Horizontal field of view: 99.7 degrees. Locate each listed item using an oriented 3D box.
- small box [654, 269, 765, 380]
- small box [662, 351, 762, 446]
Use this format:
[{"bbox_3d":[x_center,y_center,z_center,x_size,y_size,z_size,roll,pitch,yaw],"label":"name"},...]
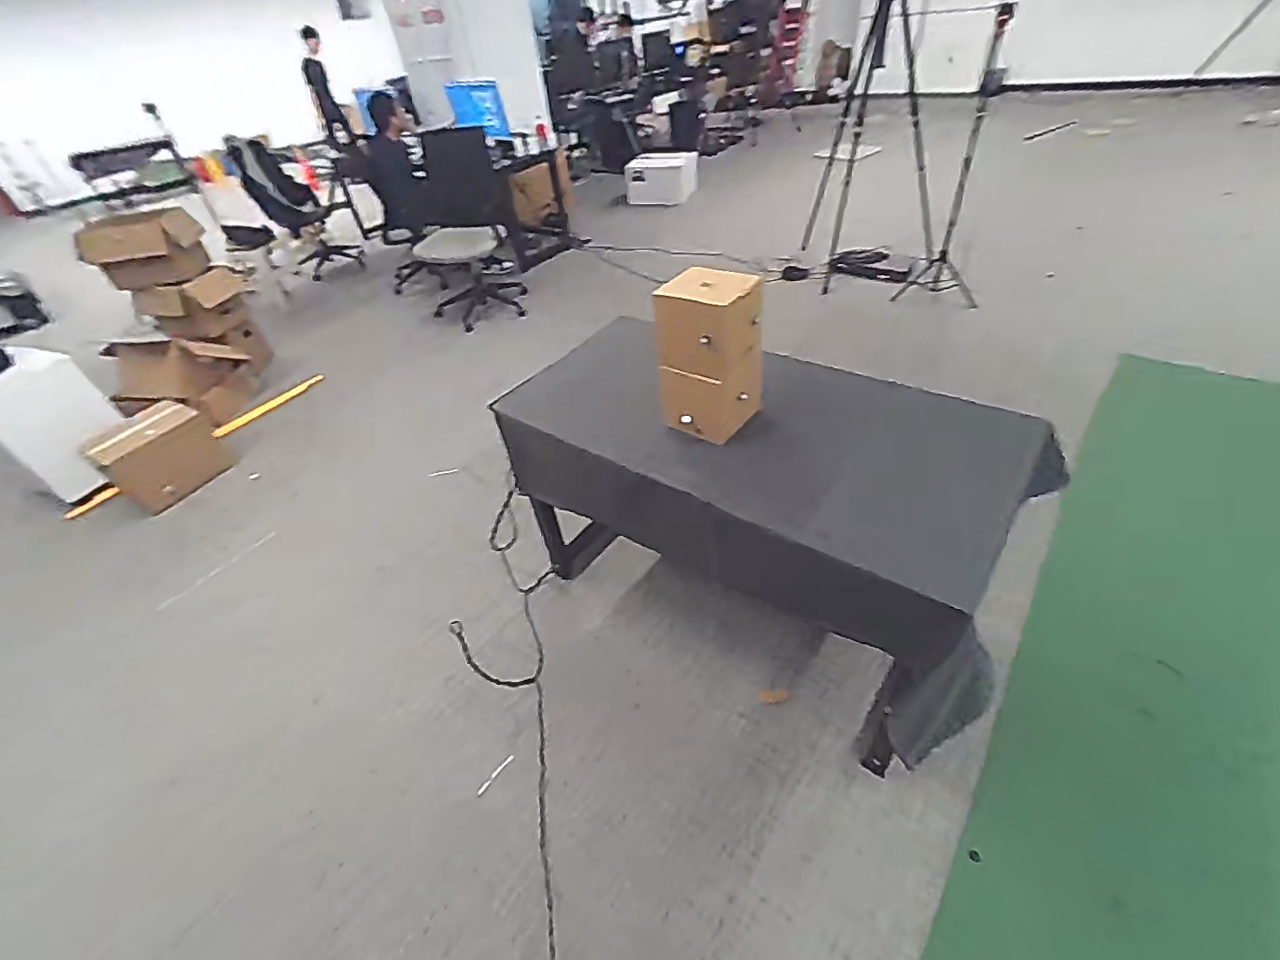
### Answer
[{"bbox_3d":[0.152,-0.336,1.172,0.179,0.176,0.168,22,48,31],"label":"small box"},{"bbox_3d":[0.171,-0.210,1.274,0.168,0.176,0.179,24,51,32],"label":"small box"}]
